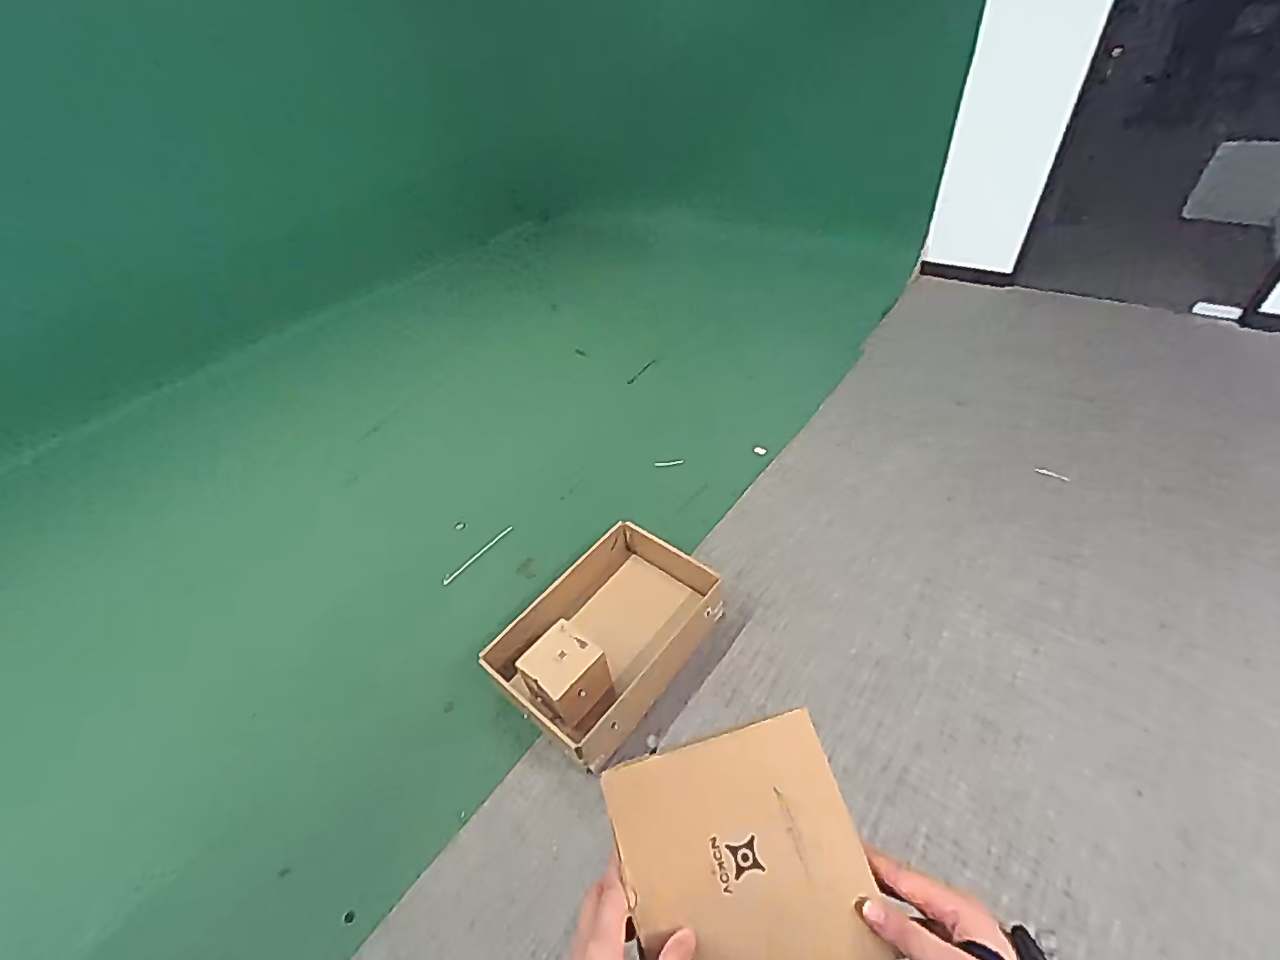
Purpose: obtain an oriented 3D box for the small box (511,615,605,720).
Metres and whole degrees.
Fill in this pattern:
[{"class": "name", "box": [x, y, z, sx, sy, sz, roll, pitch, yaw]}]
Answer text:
[{"class": "small box", "box": [-0.213, 0.510, 1.463, 0.168, 0.176, 0.179, 29, 55, 31]}]
